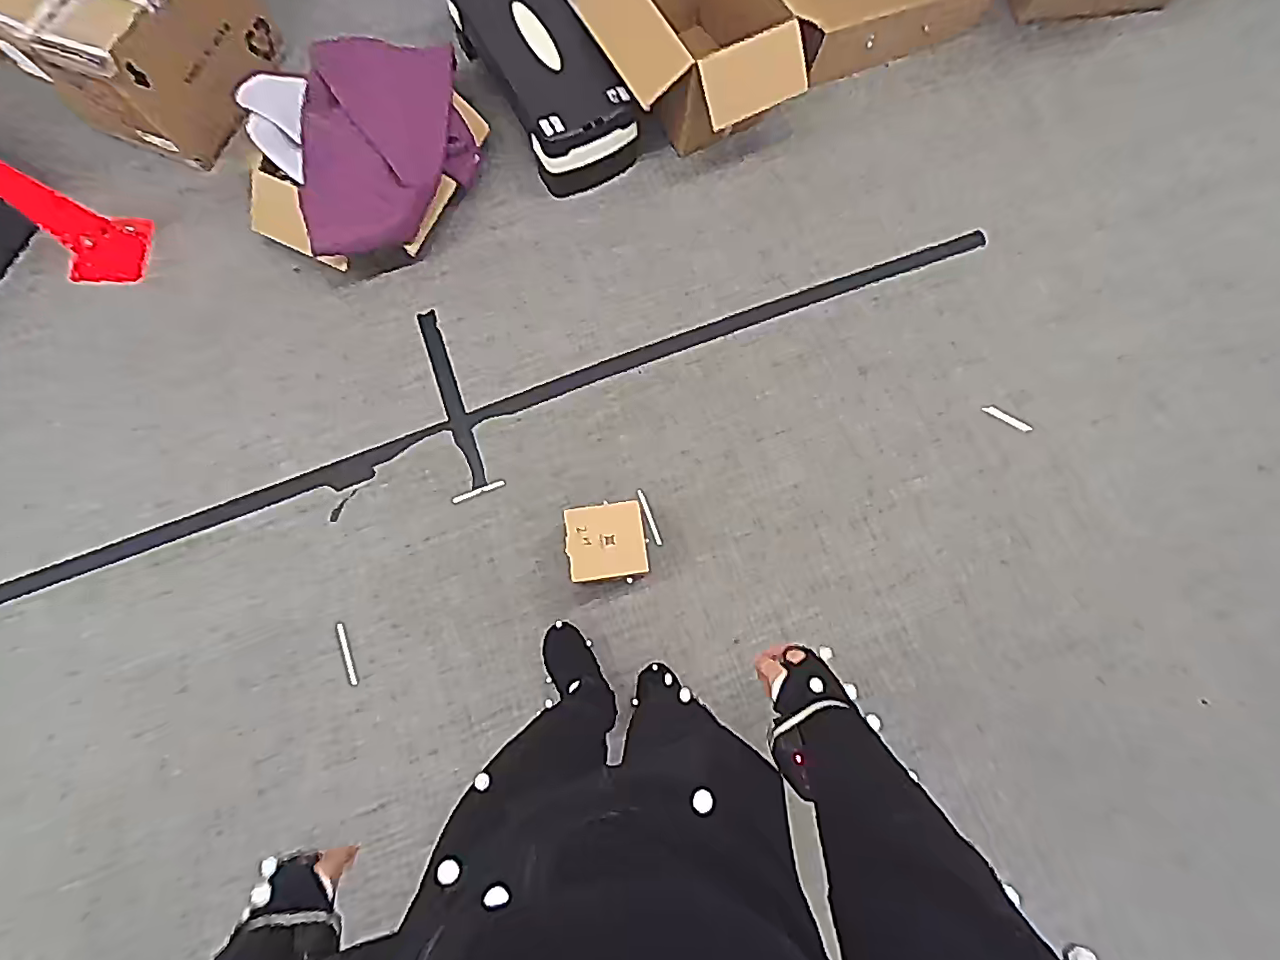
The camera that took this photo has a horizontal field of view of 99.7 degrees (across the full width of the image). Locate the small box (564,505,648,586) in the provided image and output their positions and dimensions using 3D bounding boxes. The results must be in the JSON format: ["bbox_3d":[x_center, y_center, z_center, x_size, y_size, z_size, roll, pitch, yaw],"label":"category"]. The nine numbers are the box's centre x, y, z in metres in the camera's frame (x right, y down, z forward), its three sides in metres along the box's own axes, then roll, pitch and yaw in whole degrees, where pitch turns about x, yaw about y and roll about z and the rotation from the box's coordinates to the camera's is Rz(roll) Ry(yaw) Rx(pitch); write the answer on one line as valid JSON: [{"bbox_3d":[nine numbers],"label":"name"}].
[{"bbox_3d":[-0.081,0.162,1.298,0.179,0.176,0.168,-8,78,-4],"label":"small box"}]
